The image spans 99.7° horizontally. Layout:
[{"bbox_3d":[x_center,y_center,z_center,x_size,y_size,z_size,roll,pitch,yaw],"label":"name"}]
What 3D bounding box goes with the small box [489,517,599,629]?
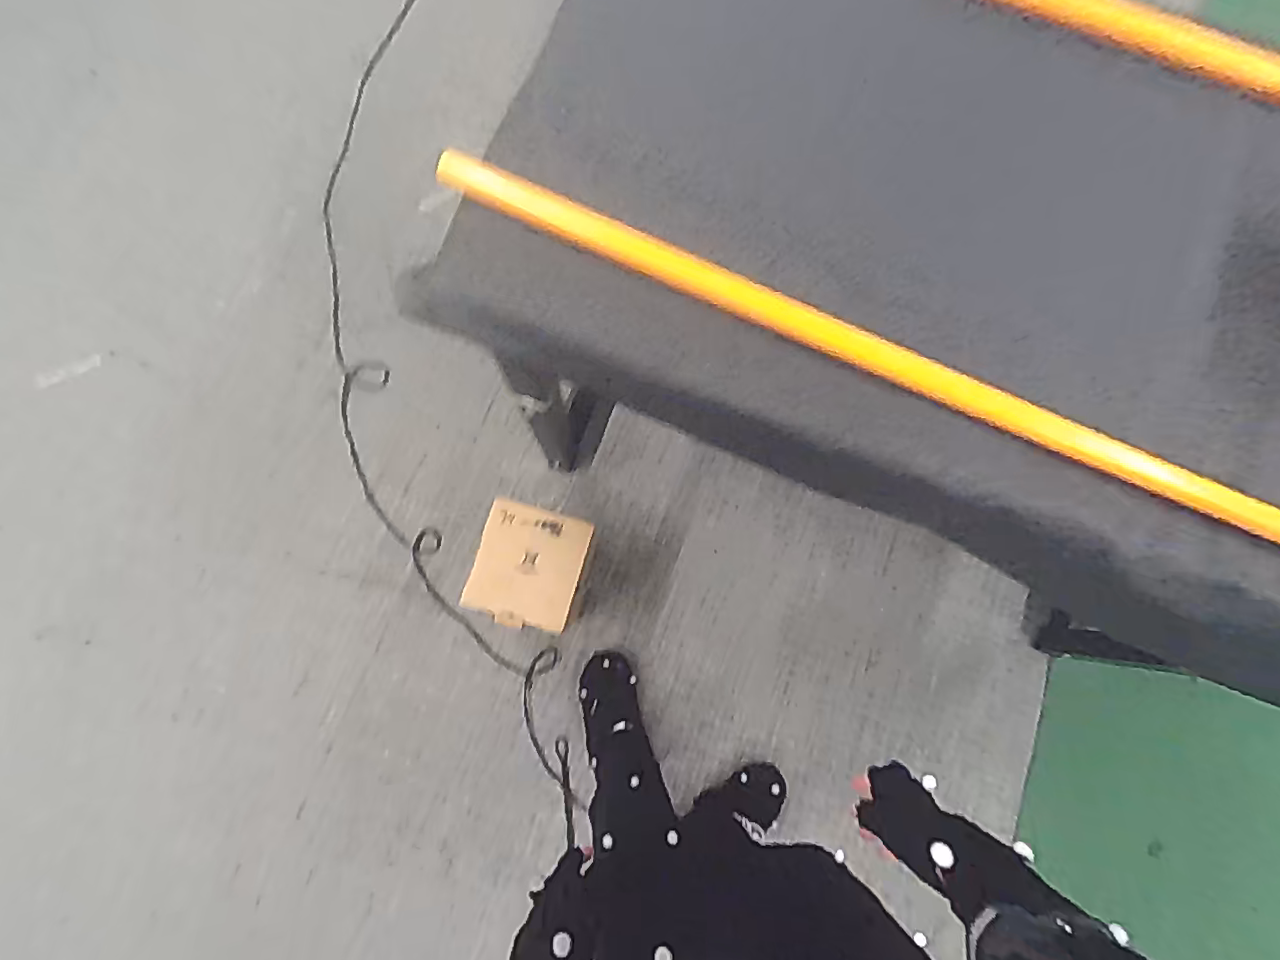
[{"bbox_3d":[-0.182,0.187,1.079,0.168,0.176,0.179,13,78,1],"label":"small box"}]
